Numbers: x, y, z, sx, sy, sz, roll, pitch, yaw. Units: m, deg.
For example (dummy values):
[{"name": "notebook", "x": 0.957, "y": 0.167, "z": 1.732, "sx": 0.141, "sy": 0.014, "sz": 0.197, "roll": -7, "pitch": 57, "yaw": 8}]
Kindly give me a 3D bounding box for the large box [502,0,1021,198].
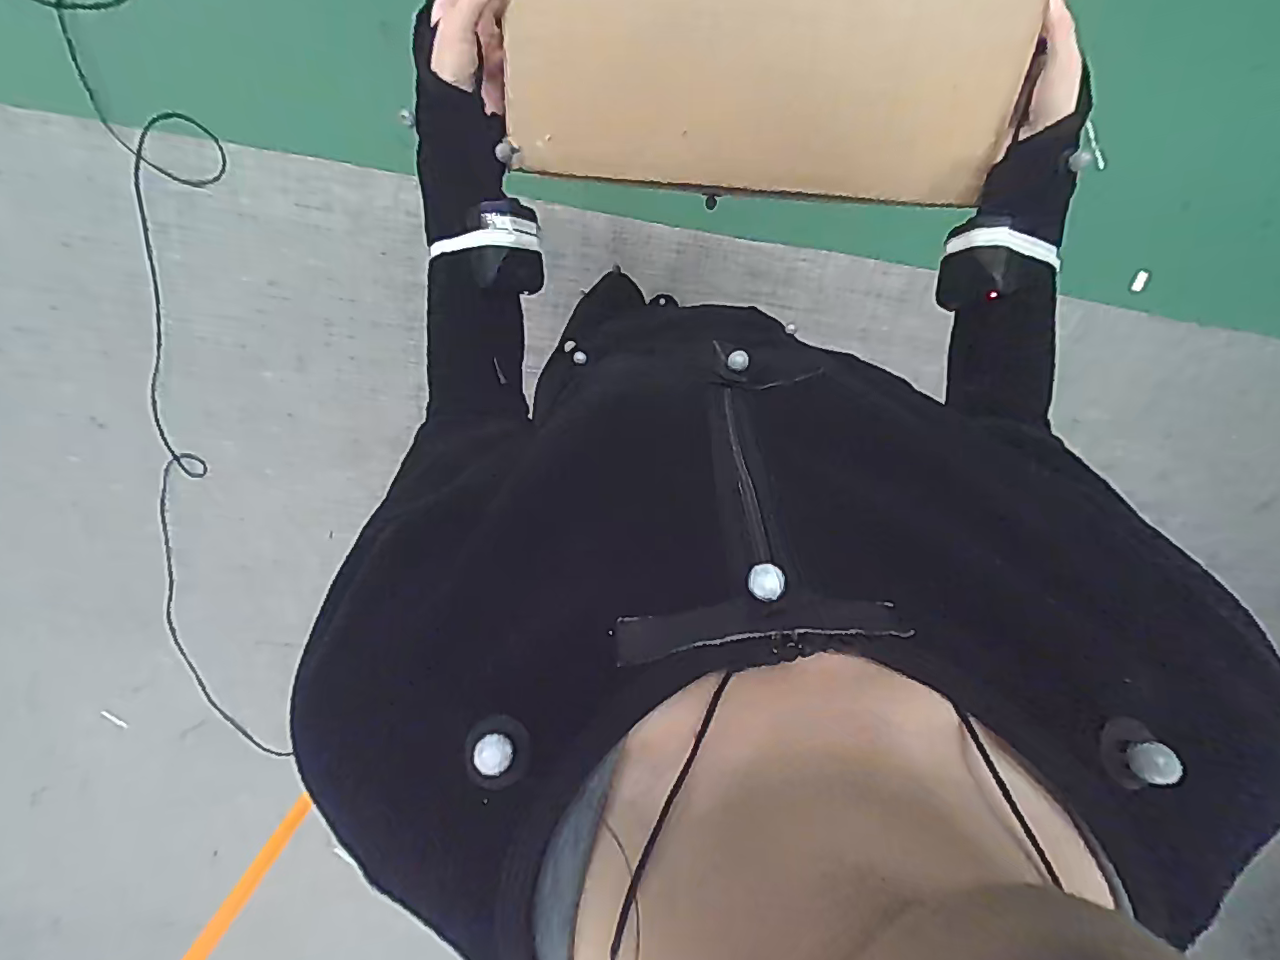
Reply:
[{"name": "large box", "x": 0.088, "y": -0.458, "z": 0.518, "sx": 0.408, "sy": 0.320, "sz": 0.320, "roll": 1, "pitch": 117, "yaw": -6}]
